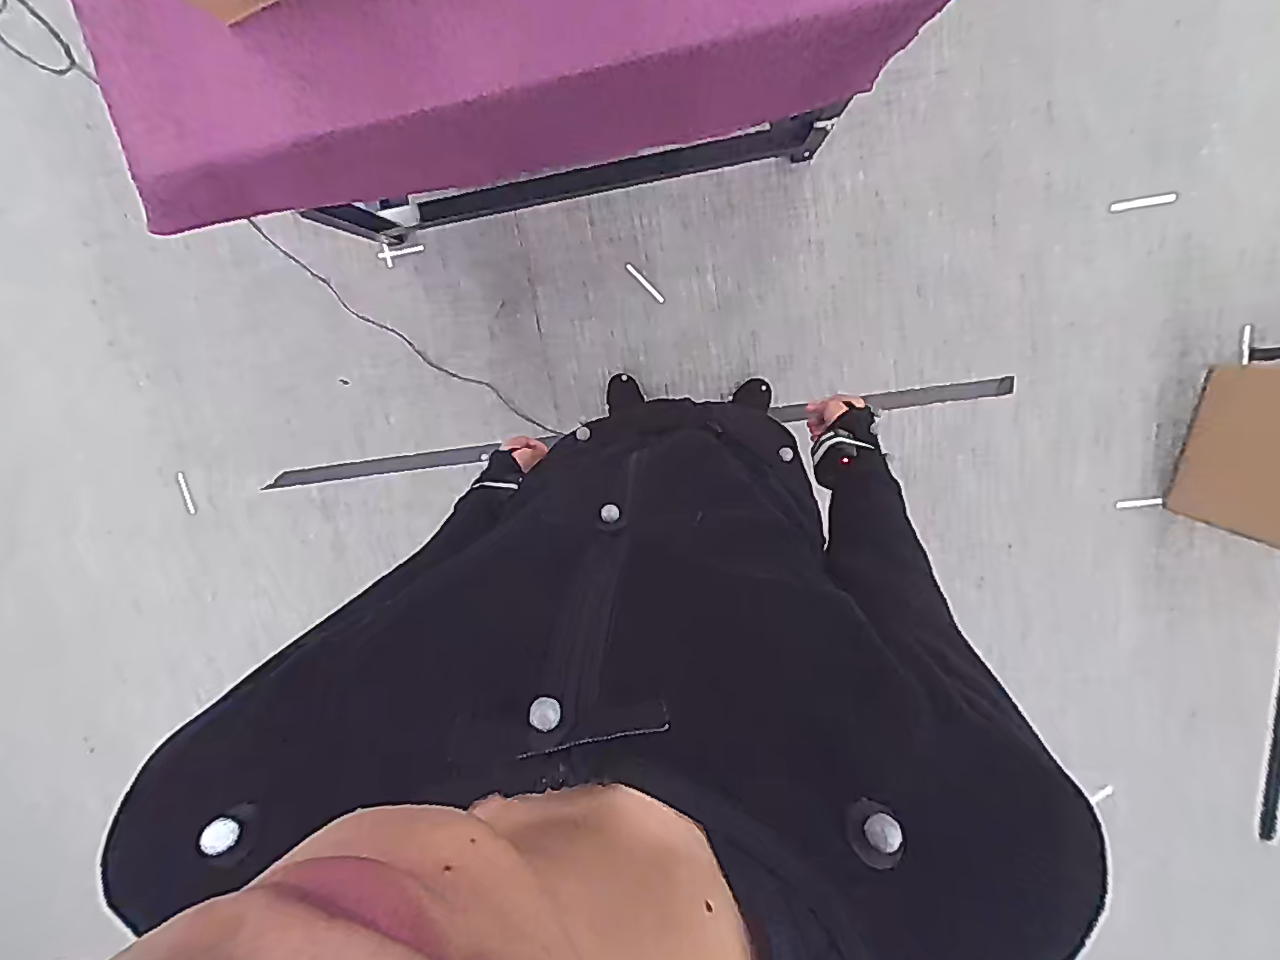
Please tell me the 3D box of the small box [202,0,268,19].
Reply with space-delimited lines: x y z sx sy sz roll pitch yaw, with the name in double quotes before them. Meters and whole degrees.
"small box" -0.545 -0.726 0.653 0.168 0.176 0.179 -17 102 9
